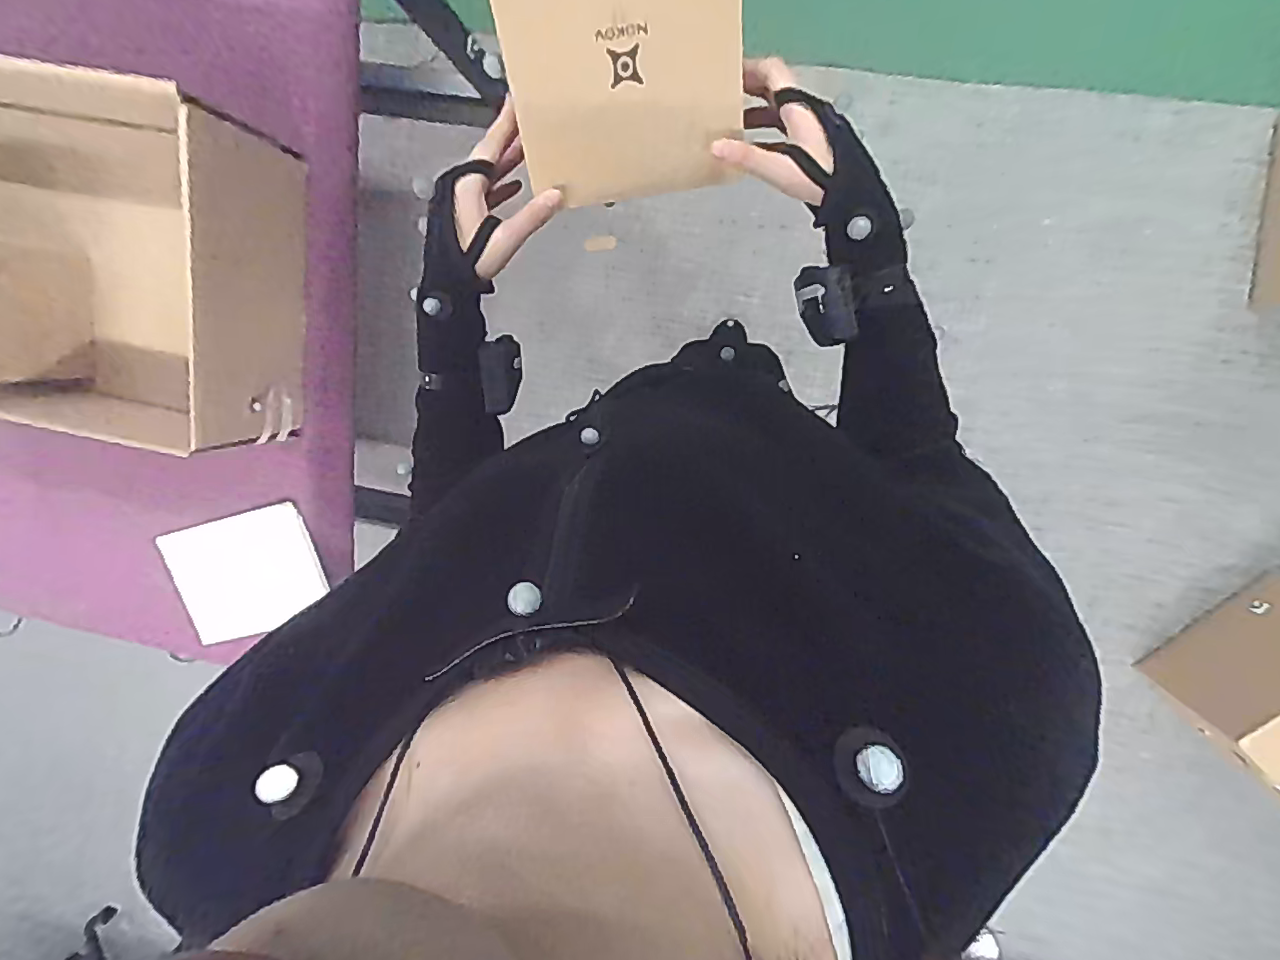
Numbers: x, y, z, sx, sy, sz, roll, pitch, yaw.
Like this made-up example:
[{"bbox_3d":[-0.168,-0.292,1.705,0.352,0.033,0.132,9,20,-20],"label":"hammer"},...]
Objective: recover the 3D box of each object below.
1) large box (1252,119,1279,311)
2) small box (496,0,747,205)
[{"bbox_3d":[1.517,-0.568,1.048,0.320,0.320,0.408,-5,100,7],"label":"large box"},{"bbox_3d":[-0.016,-0.339,0.428,0.168,0.176,0.179,-10,127,-1],"label":"small box"}]
